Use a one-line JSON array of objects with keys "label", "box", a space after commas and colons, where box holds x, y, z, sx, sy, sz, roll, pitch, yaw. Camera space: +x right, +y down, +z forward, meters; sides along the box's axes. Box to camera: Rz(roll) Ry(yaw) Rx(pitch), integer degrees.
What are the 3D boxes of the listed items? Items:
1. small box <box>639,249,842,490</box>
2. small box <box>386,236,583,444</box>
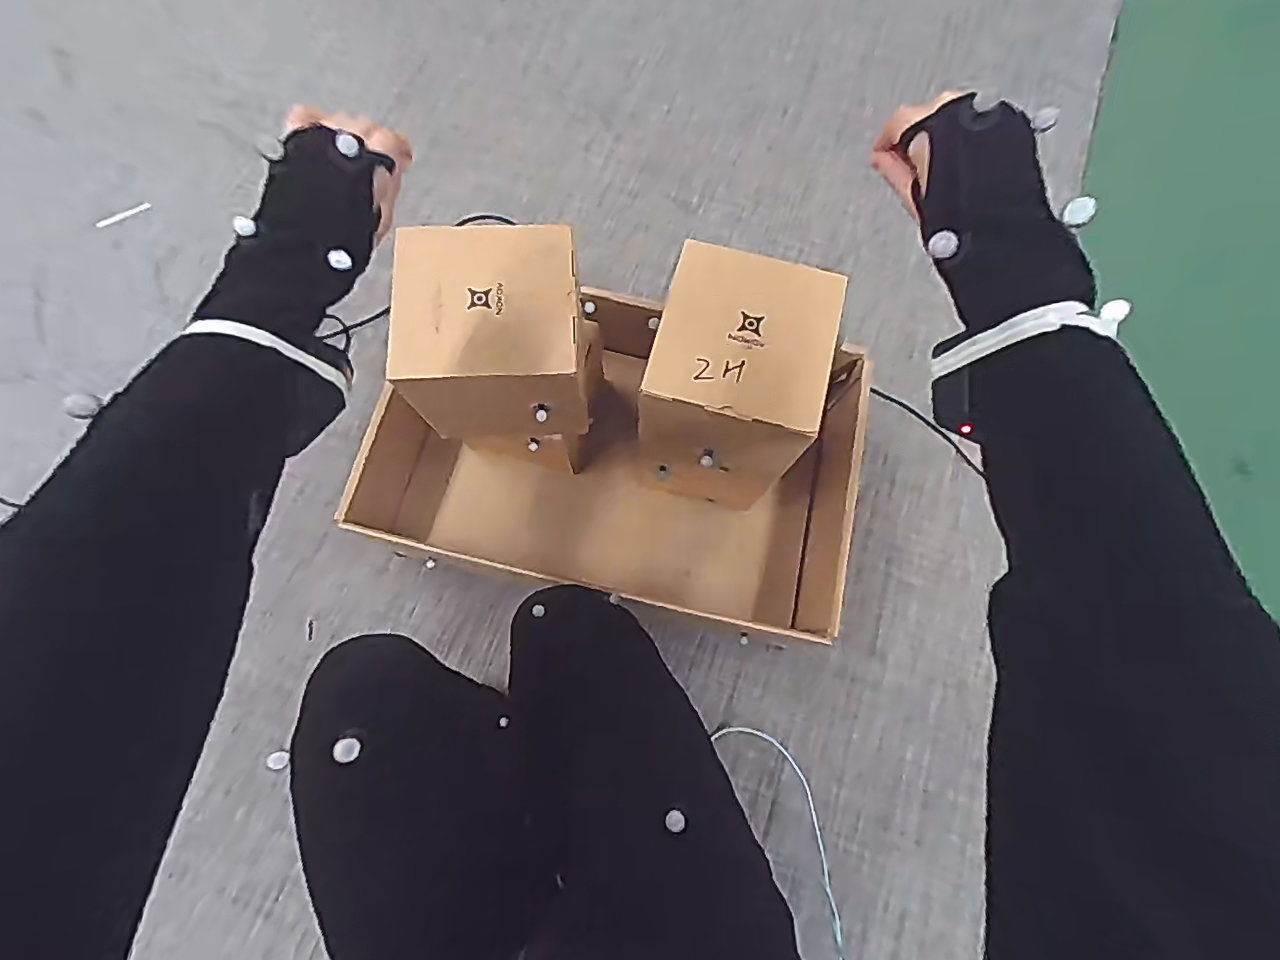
[{"label": "small box", "box": [0.097, -0.108, 0.586, 0.168, 0.176, 0.179, 15, 75, 4]}, {"label": "small box", "box": [-0.153, -0.143, 0.596, 0.179, 0.176, 0.168, -2, 75, -2]}]
